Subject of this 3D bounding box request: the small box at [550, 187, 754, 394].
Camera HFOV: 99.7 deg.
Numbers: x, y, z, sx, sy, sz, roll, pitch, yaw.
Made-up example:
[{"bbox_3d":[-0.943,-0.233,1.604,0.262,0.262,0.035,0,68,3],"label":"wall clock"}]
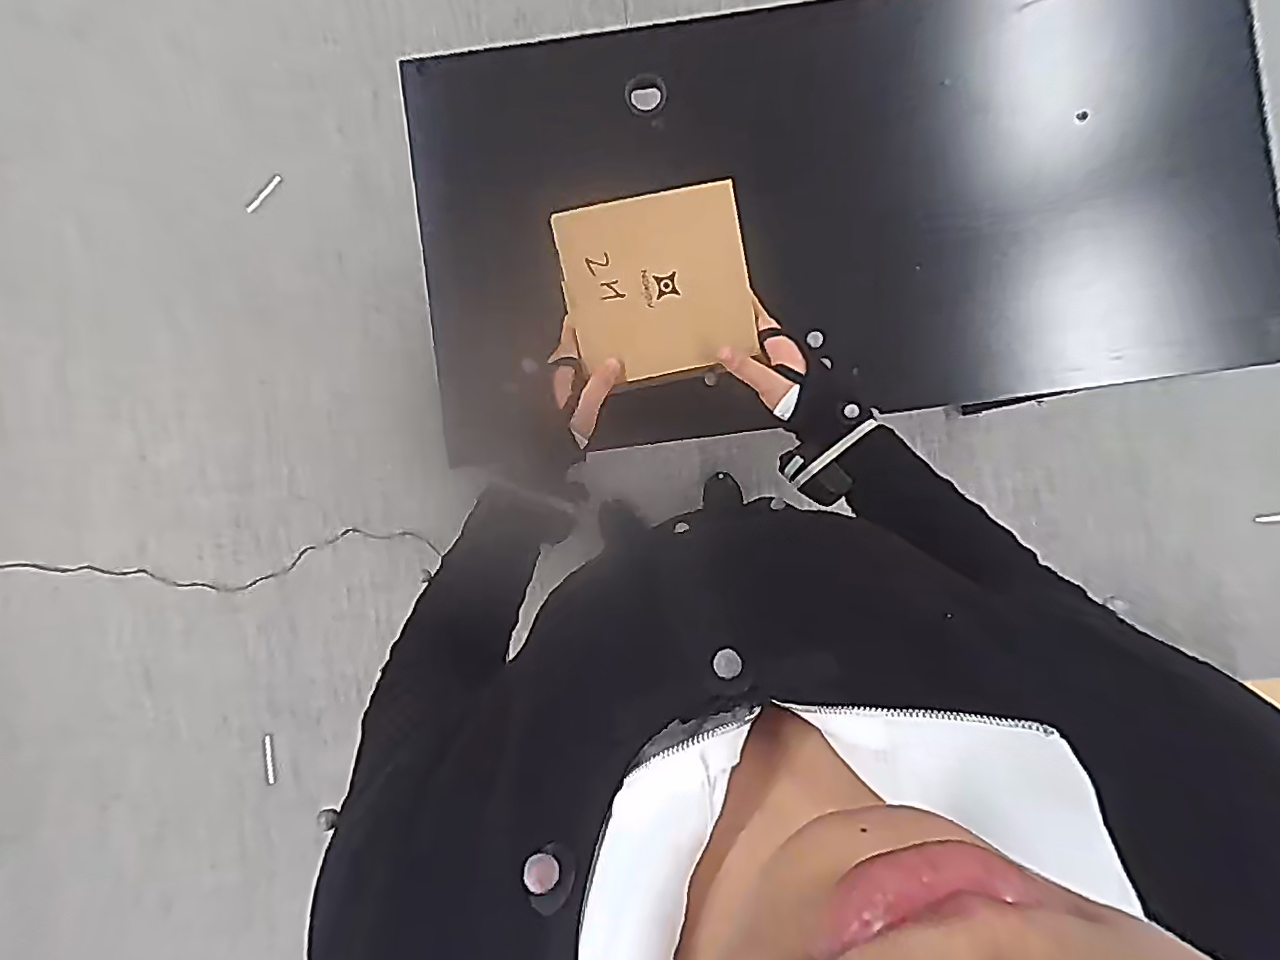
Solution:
[{"bbox_3d":[0.010,-0.193,0.598,0.179,0.176,0.168,-11,96,0],"label":"small box"}]
